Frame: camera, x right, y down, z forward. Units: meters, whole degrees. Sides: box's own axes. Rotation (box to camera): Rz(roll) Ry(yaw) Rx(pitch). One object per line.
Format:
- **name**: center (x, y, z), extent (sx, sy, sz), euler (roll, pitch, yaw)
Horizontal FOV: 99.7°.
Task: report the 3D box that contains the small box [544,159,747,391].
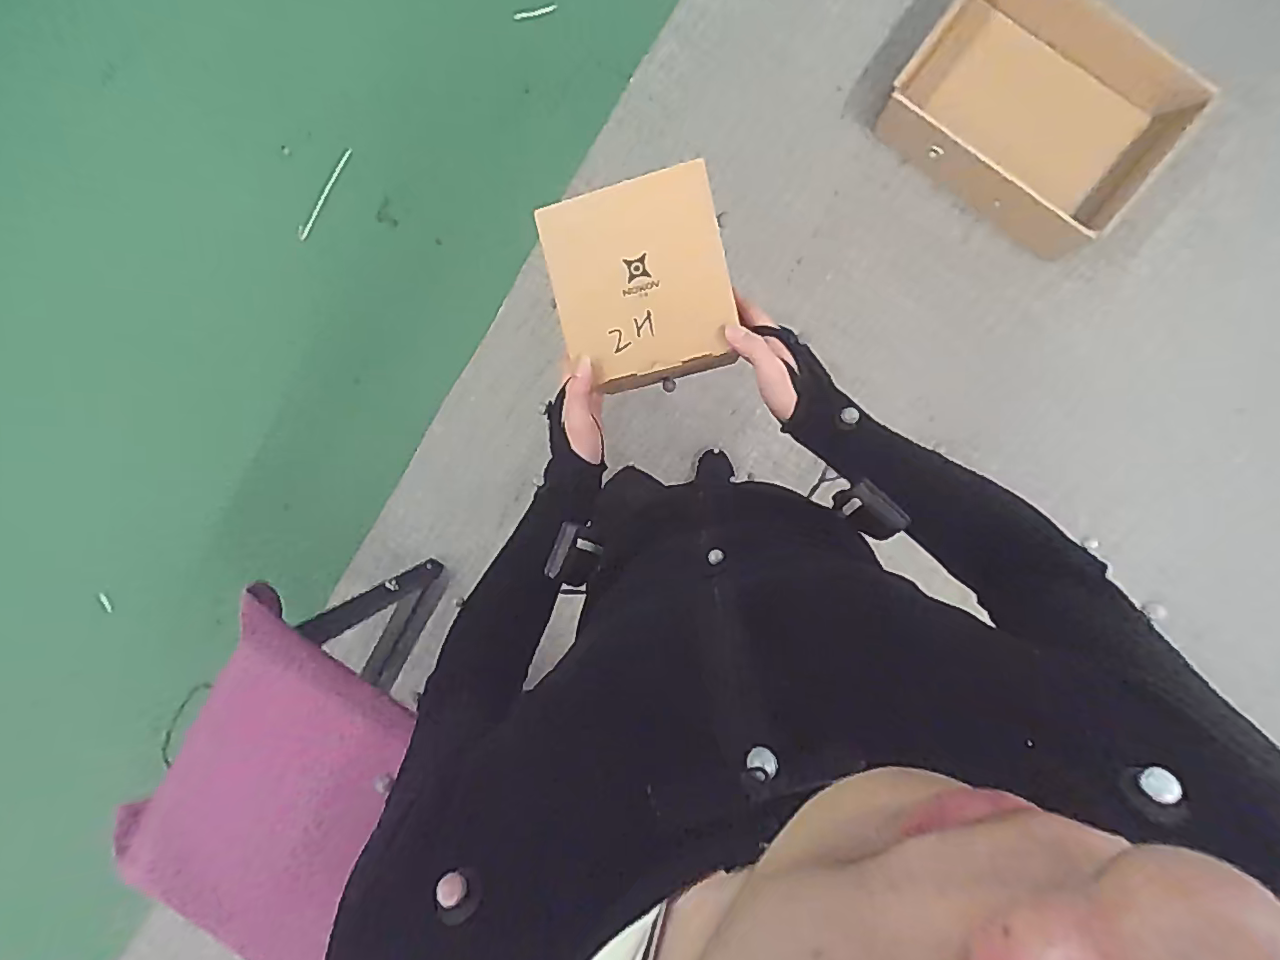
- **small box**: center (0.014, -0.199, 0.582), extent (0.168, 0.176, 0.179), euler (-11, 96, 9)
